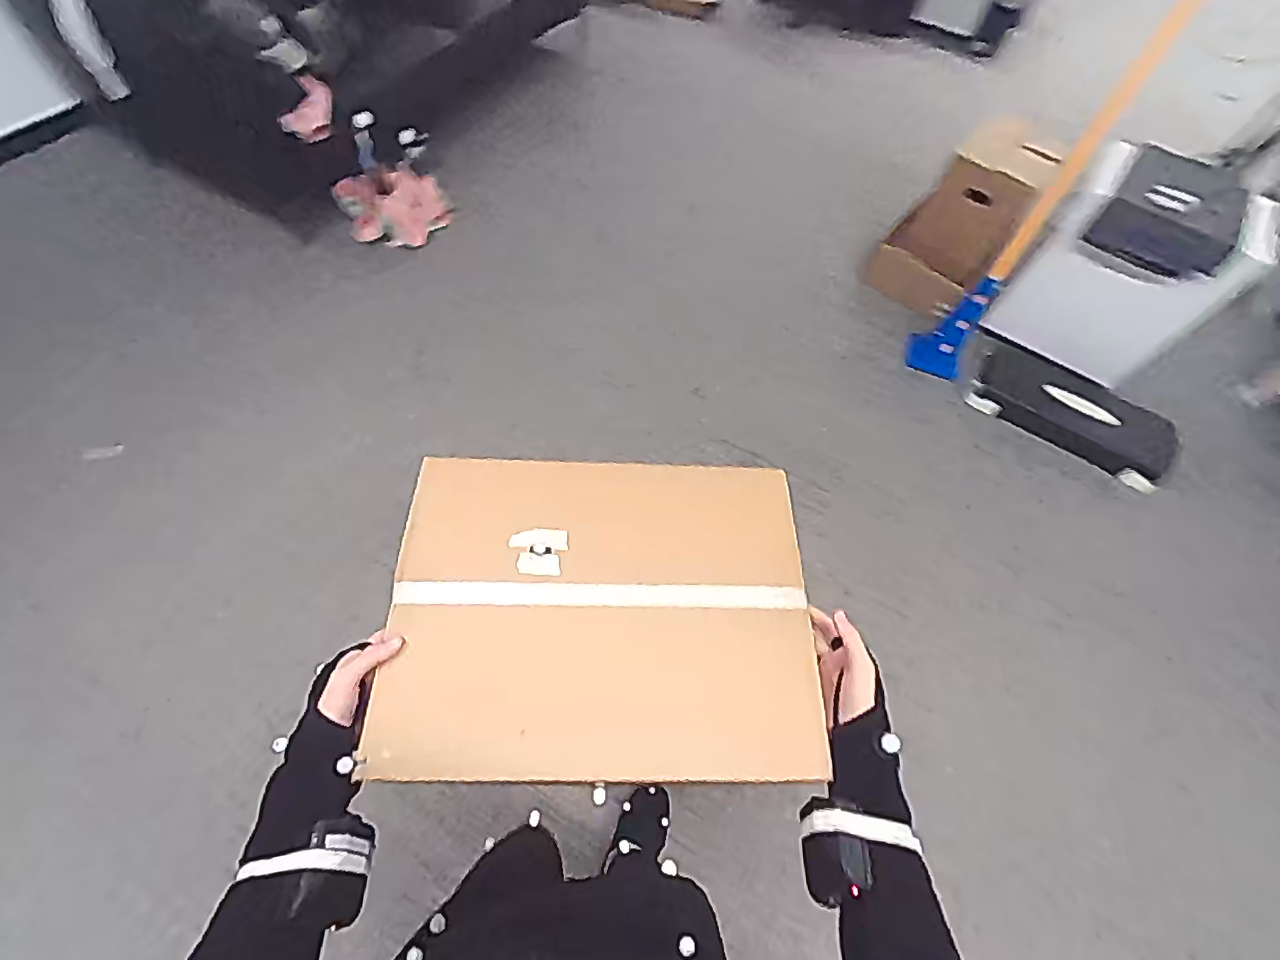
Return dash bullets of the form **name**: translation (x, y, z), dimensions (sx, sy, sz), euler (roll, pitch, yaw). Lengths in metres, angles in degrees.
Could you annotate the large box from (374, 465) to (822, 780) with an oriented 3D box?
- **large box**: translation (-0.043, 0.191, 0.677), dimensions (0.408, 0.320, 0.320), euler (0, 60, -3)
